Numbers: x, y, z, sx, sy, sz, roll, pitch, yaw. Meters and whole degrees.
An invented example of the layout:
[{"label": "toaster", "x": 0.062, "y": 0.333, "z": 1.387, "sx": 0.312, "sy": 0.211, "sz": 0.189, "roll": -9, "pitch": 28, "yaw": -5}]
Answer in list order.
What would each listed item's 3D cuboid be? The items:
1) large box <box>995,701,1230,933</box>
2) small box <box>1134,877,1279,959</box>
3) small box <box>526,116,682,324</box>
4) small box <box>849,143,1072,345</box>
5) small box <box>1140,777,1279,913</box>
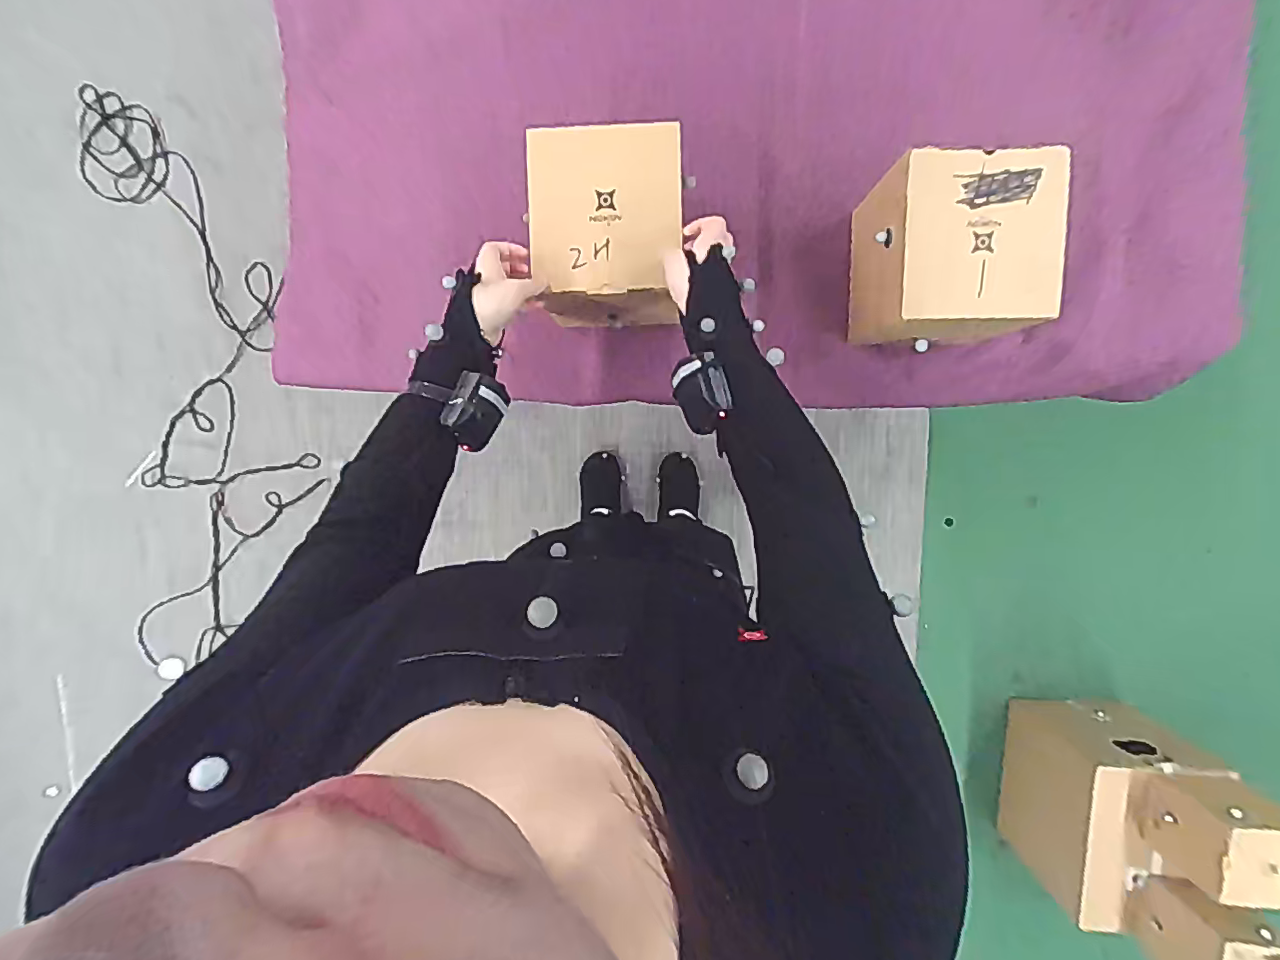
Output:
[{"label": "large box", "x": 1.160, "y": 0.825, "z": 1.370, "sx": 0.320, "sy": 0.320, "sz": 0.408, "roll": 2, "pitch": 96, "yaw": 3}, {"label": "small box", "x": 1.202, "y": 0.992, "z": 1.138, "sx": 0.168, "sy": 0.176, "sz": 0.179, "roll": 7, "pitch": 95, "yaw": 1}, {"label": "small box", "x": -0.036, "y": -0.294, "z": 0.645, "sx": 0.168, "sy": 0.176, "sz": 0.179, "roll": -1, "pitch": 94, "yaw": 2}, {"label": "small box", "x": 0.357, "y": -0.262, "z": 0.635, "sx": 0.168, "sy": 0.176, "sz": 0.179, "roll": 1, "pitch": 96, "yaw": 2}, {"label": "small box", "x": 1.204, "y": 0.744, "z": 1.117, "sx": 0.179, "sy": 0.176, "sz": 0.168, "roll": 2, "pitch": 96, "yaw": 2}]
